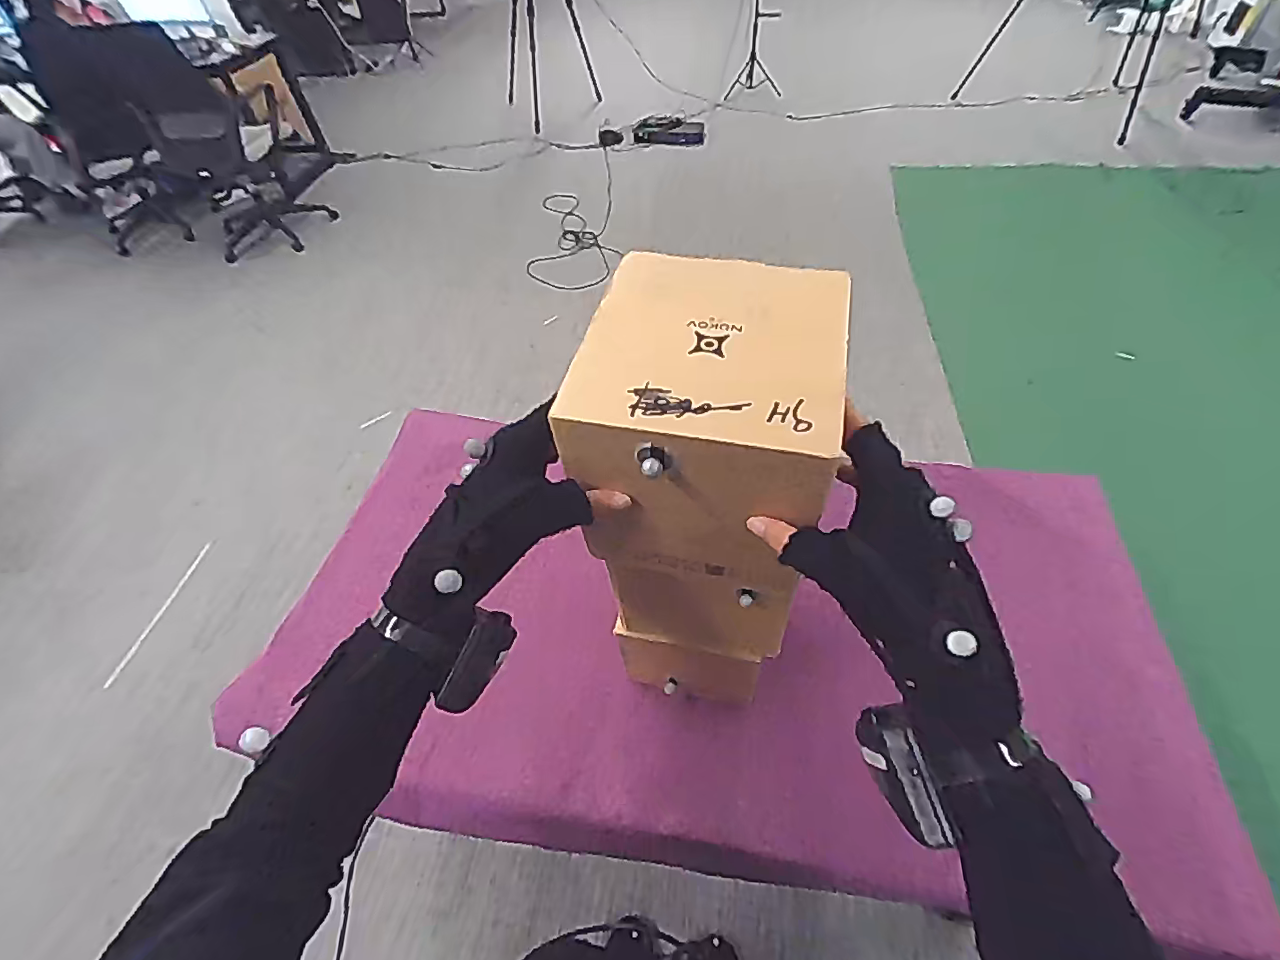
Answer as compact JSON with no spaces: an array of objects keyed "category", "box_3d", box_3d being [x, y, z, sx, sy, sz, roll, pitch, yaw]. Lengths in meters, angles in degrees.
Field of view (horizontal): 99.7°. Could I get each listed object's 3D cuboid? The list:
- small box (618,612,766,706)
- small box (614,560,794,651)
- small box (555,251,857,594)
[{"category":"small box","box_3d":[0.079,0.165,0.698,0.168,0.176,0.179,8,53,12]},{"category":"small box","box_3d":[0.074,0.063,0.572,0.179,0.176,0.168,7,52,11]},{"category":"small box","box_3d":[0.055,-0.042,0.402,0.168,0.176,0.179,9,54,12]}]
